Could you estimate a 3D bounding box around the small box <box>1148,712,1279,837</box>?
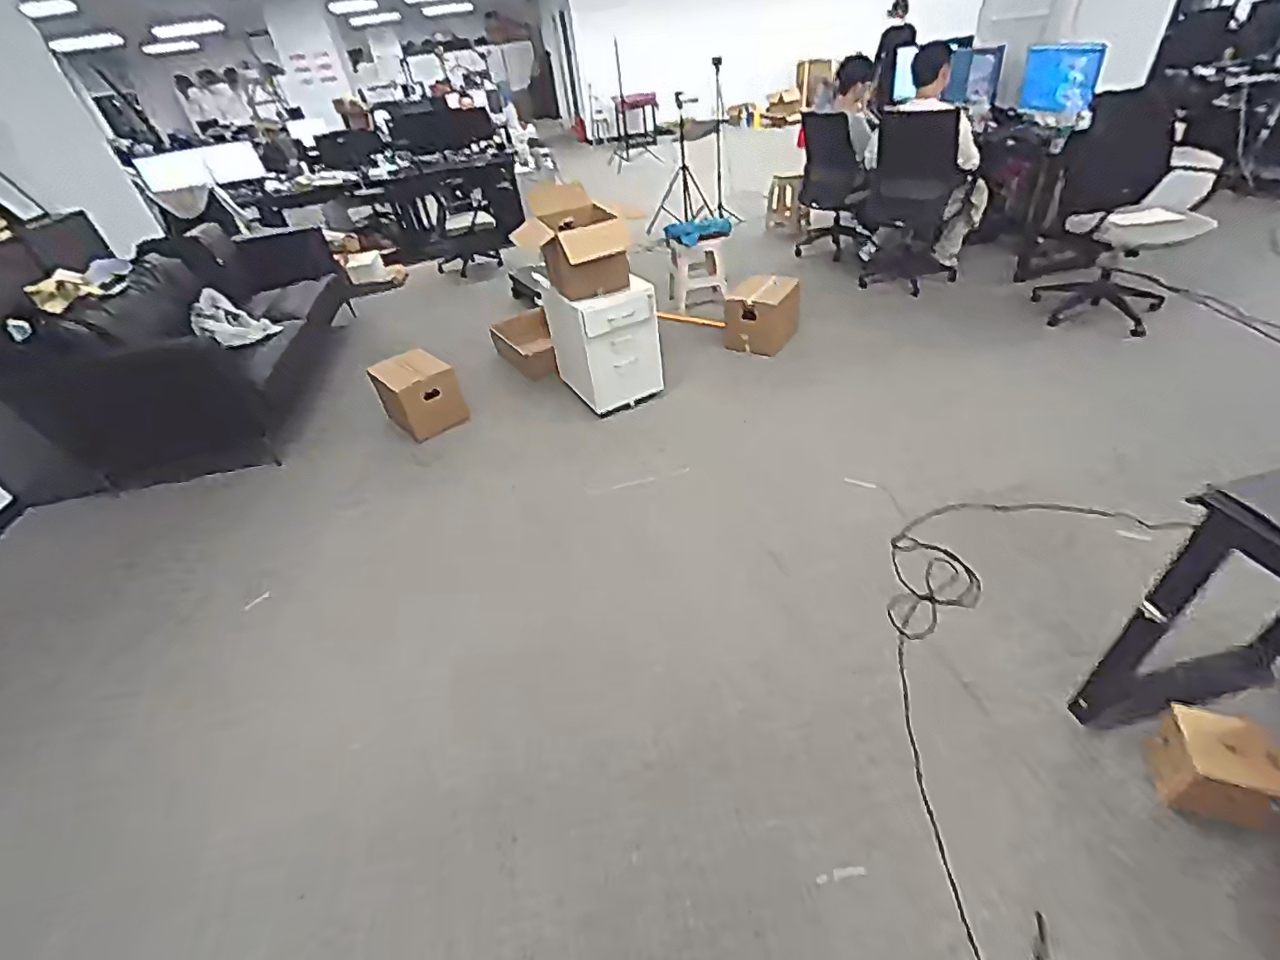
[{"bbox_3d":[1.291,0.660,1.211,0.179,0.176,0.168,9,41,20],"label":"small box"}]
